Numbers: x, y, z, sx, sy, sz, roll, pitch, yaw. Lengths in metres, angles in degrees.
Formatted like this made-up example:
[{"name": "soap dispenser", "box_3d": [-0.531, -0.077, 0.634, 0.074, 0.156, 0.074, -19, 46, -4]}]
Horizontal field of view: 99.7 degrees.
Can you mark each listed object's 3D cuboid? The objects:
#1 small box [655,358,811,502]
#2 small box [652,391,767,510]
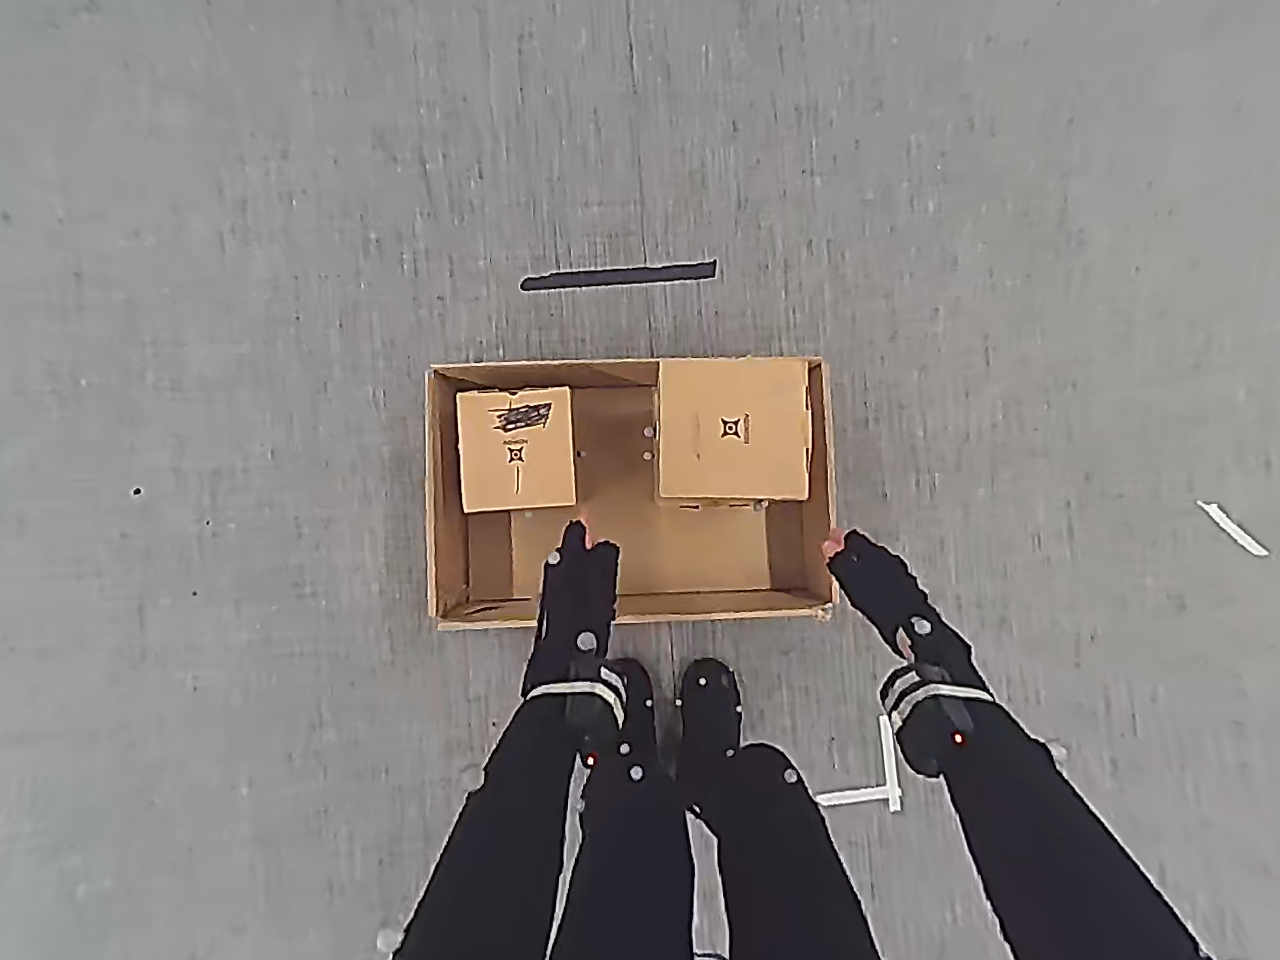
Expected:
[{"name": "small box", "box_3d": [0.110, -0.057, 0.706, 0.179, 0.176, 0.168, 0, 87, 1]}, {"name": "small box", "box_3d": [0.104, -0.046, 0.870, 0.168, 0.176, 0.179, -2, 89, 0]}]
